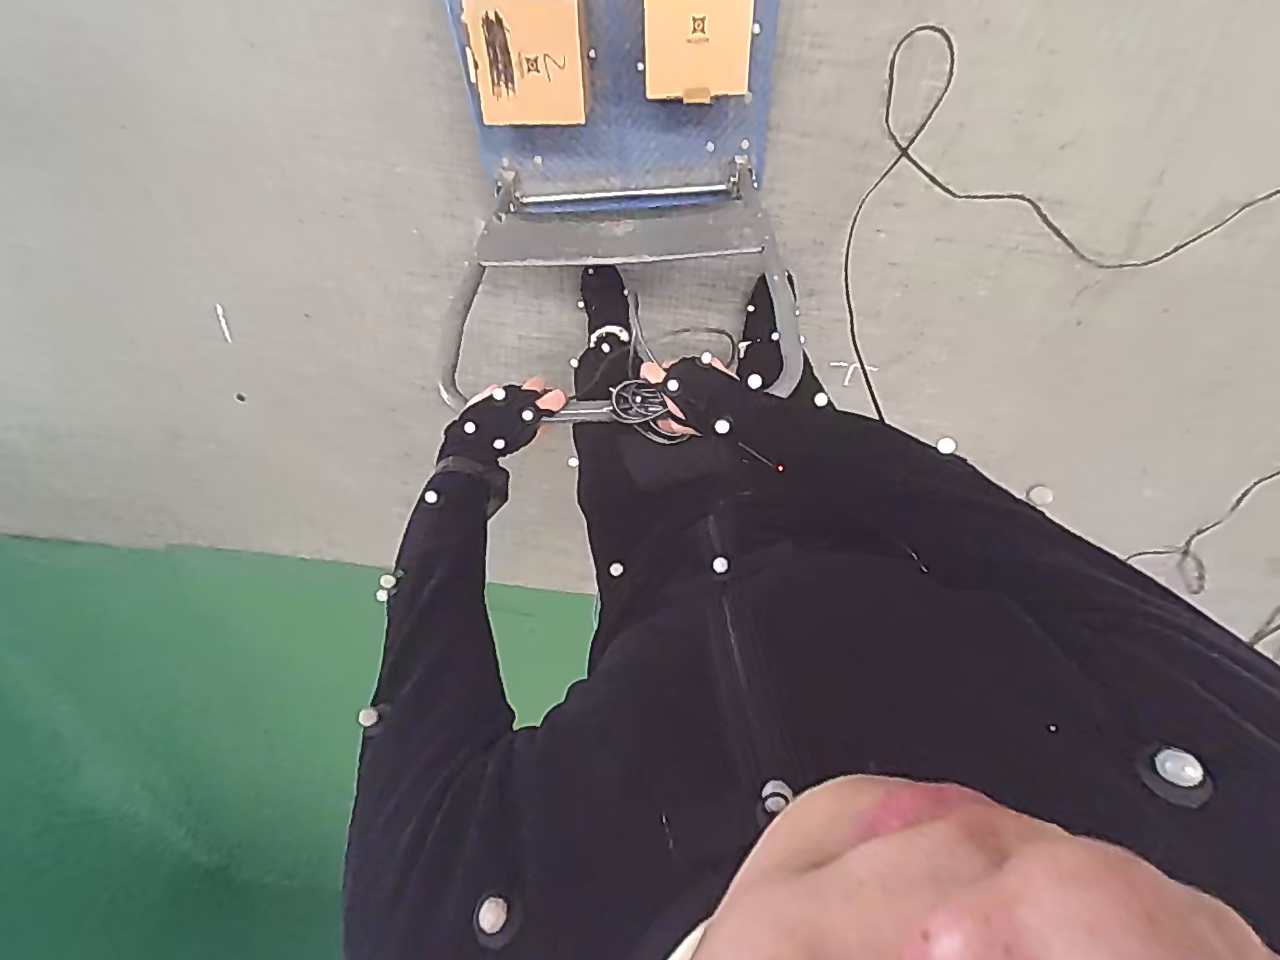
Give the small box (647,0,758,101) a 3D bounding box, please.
[{"bbox_3d":[0.095,-0.745,0.883,0.168,0.176,0.179,-1,137,3],"label":"small box"}]
